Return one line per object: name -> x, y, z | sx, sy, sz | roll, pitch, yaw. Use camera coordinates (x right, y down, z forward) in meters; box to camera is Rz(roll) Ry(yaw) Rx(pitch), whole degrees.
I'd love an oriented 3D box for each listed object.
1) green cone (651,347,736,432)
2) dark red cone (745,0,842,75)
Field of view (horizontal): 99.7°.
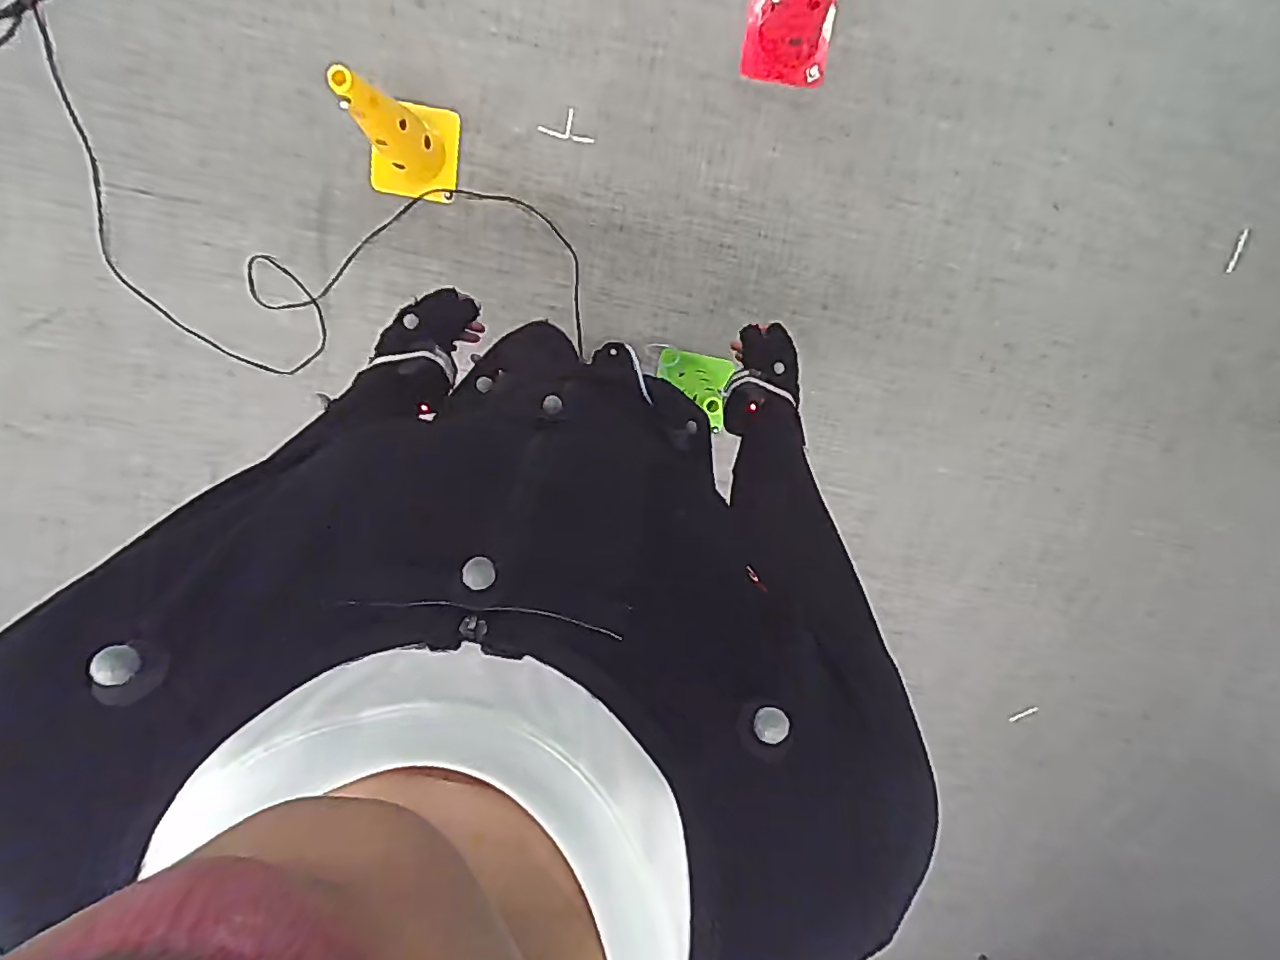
green cone -> 0.143, -0.198, 1.264 | 0.202, 0.368, 0.200 | 10, 103, -3
dark red cone -> 0.349, -0.993, 1.053 | 0.202, 0.394, 0.201 | 6, 102, -3
